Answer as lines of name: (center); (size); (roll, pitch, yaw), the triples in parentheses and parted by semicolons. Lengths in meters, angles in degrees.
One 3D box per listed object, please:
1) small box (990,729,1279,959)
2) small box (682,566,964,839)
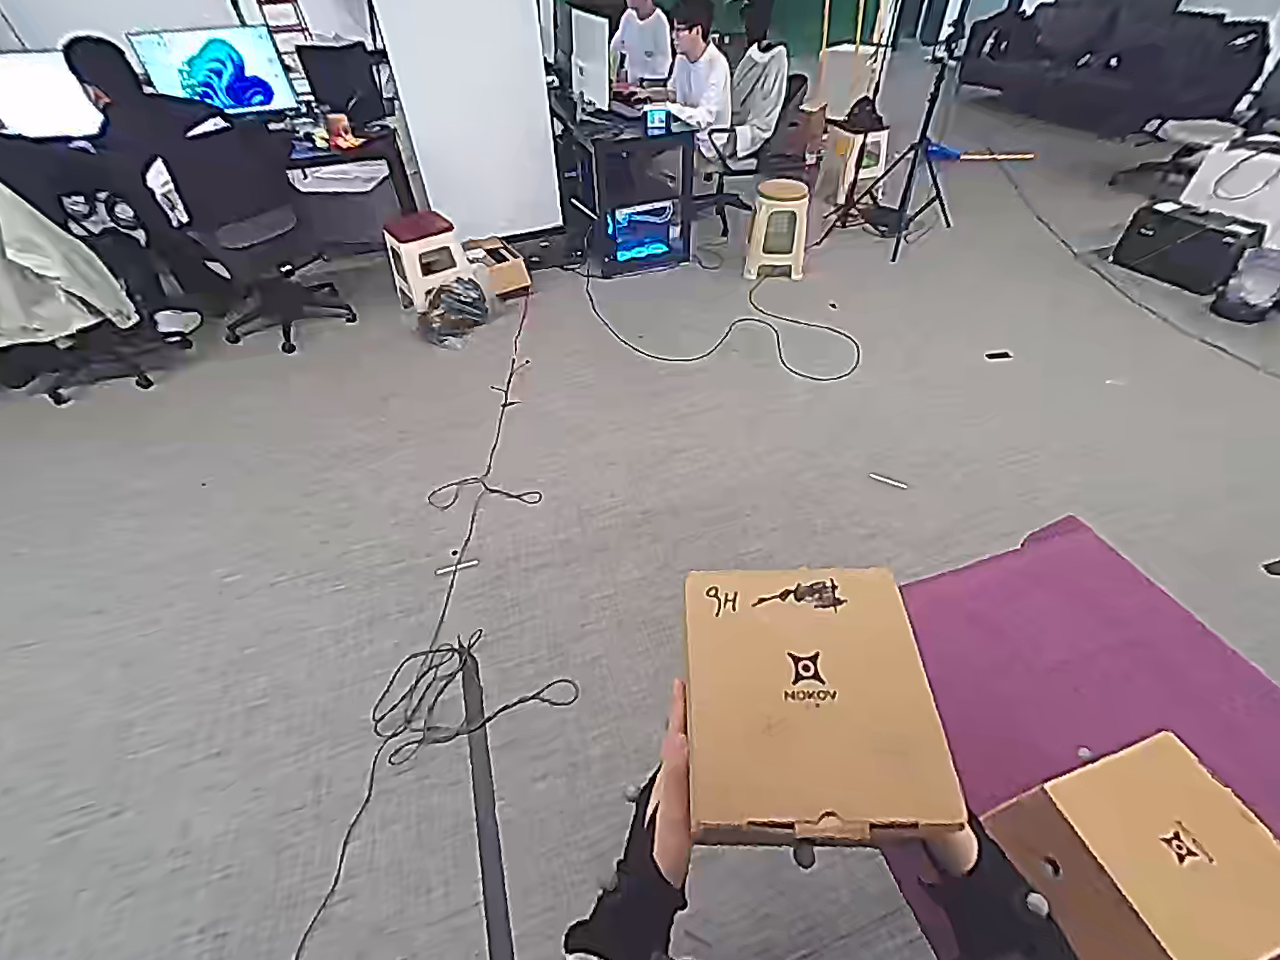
small box: (0.512, 0.398, 0.568); (0.179, 0.176, 0.168); (-13, 47, -12)
small box: (0.121, 0.185, 0.441); (0.168, 0.176, 0.179); (0, 54, 2)
